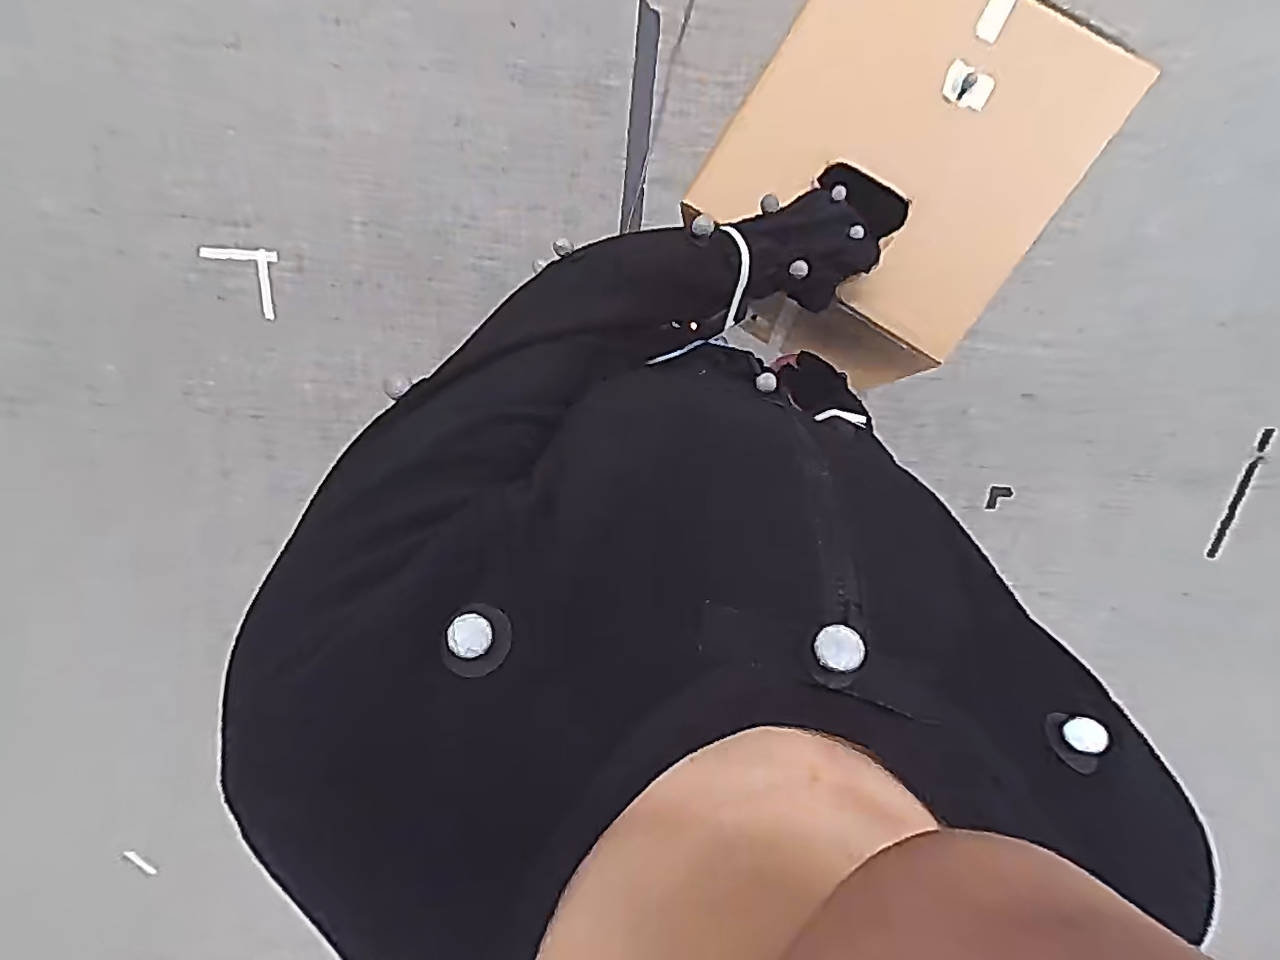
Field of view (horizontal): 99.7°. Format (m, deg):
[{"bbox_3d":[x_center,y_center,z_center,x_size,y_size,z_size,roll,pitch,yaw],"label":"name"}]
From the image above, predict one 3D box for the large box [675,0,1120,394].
[{"bbox_3d":[0.278,-0.341,0.722,0.320,0.408,0.320,36,100,6],"label":"large box"}]
